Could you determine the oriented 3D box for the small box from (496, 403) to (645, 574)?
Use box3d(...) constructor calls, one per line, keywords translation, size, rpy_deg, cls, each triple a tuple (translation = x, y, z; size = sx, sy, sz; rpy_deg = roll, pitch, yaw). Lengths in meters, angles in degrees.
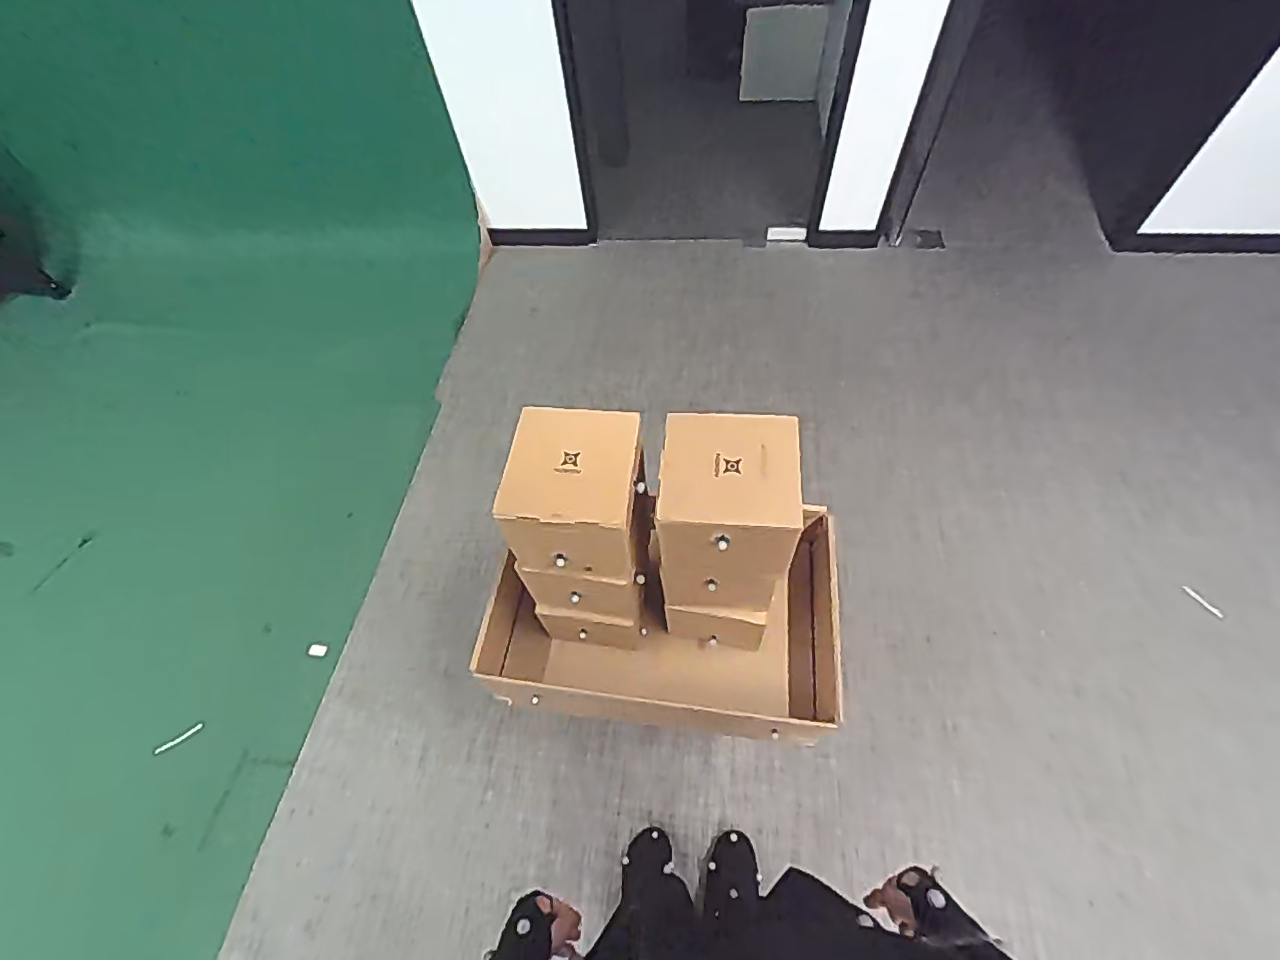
box3d(translation=(-0.084, 0.014, 0.766), size=(0.168, 0.176, 0.179), rpy_deg=(4, 59, 6), cls="small box")
